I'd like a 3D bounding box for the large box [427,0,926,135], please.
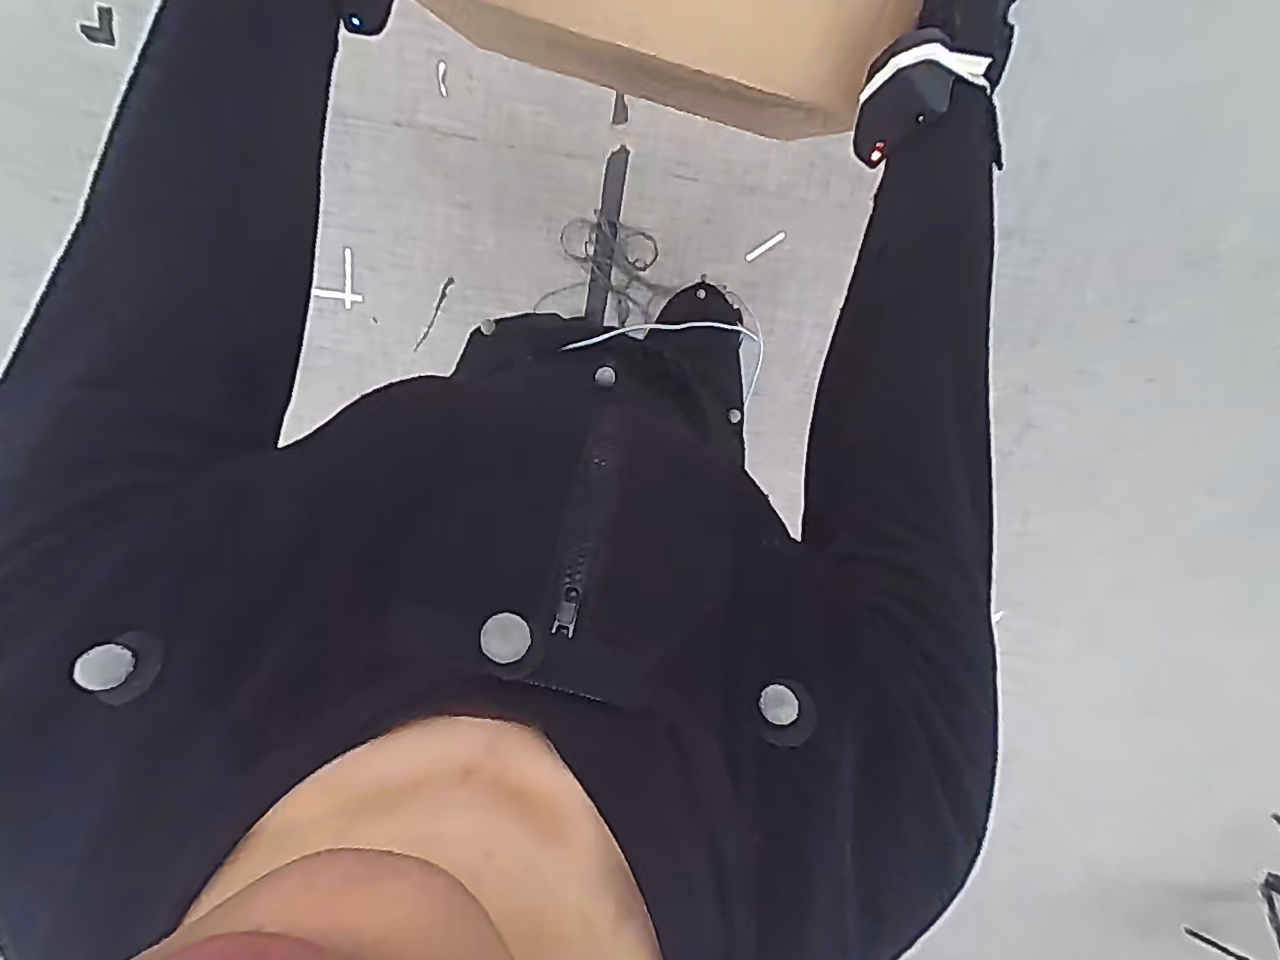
[{"bbox_3d":[0.037,-0.540,0.482,0.408,0.320,0.320,10,120,-9],"label":"large box"}]
